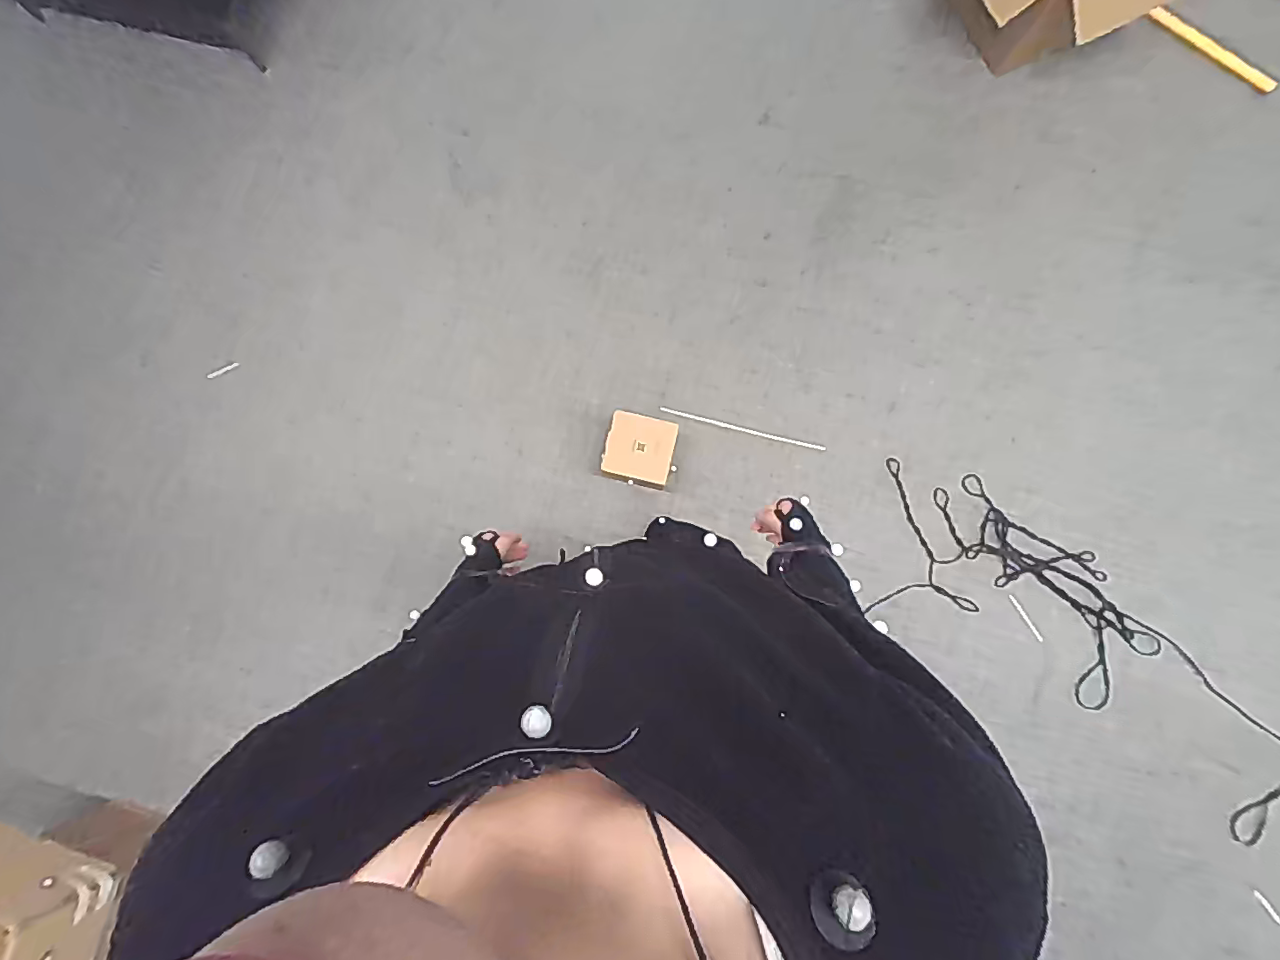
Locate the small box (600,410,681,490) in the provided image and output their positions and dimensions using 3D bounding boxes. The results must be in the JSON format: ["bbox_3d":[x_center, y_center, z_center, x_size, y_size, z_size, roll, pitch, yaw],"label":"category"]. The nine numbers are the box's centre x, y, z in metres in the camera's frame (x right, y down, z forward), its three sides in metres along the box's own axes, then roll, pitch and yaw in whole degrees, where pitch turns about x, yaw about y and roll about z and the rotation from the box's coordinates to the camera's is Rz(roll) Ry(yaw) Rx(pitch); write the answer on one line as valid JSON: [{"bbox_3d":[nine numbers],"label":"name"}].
[{"bbox_3d":[0.005,-0.073,1.459,0.179,0.176,0.168,14,85,4],"label":"small box"}]
